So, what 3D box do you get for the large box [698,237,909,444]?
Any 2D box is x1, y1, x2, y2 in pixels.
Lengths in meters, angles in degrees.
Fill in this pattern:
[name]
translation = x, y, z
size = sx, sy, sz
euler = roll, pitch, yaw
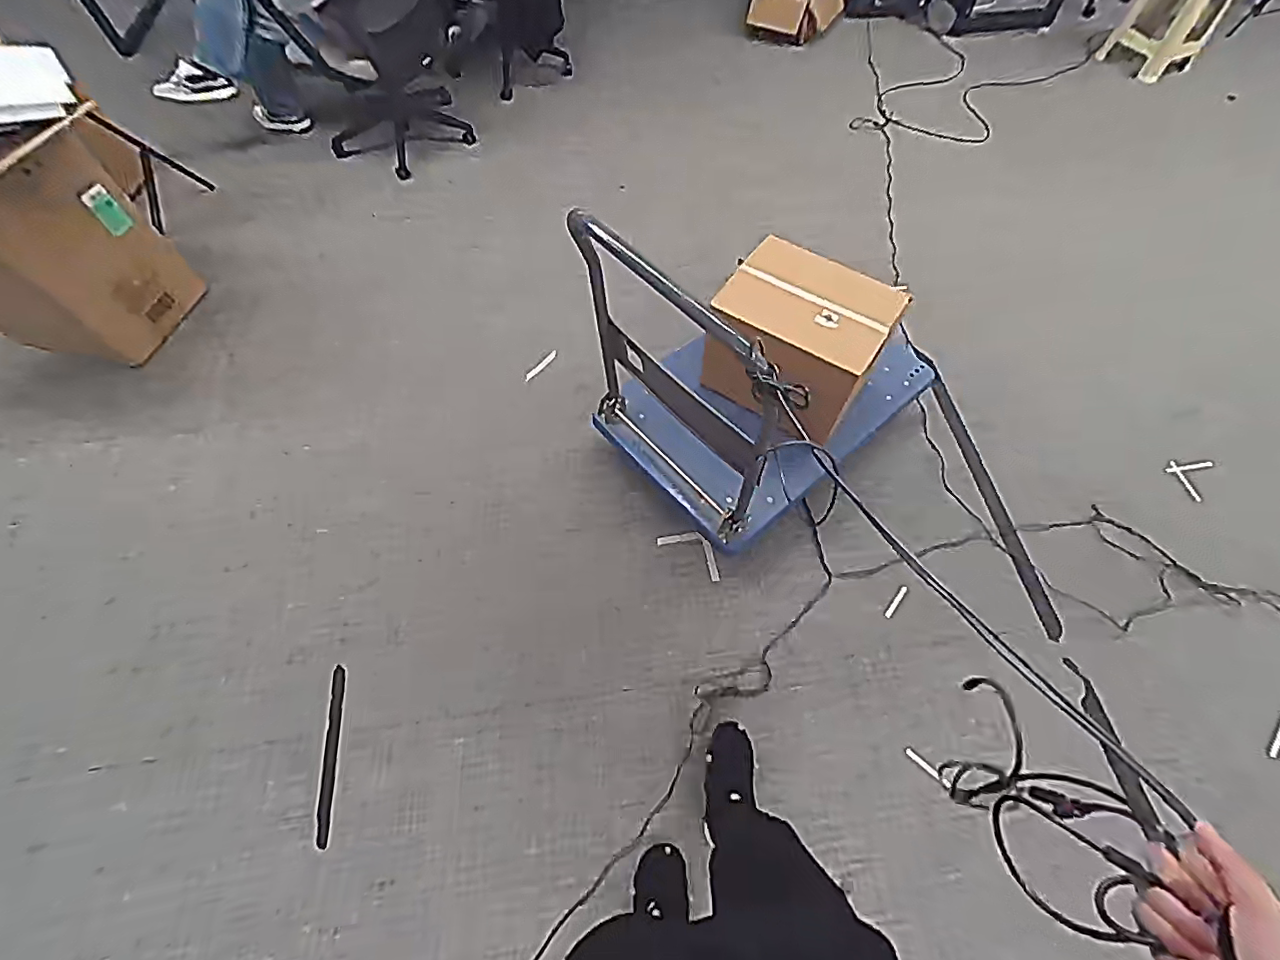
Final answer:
[large box]
translation = 0.412, -0.367, 1.450
size = 0.408, 0.320, 0.320
euler = 32, 67, 15
